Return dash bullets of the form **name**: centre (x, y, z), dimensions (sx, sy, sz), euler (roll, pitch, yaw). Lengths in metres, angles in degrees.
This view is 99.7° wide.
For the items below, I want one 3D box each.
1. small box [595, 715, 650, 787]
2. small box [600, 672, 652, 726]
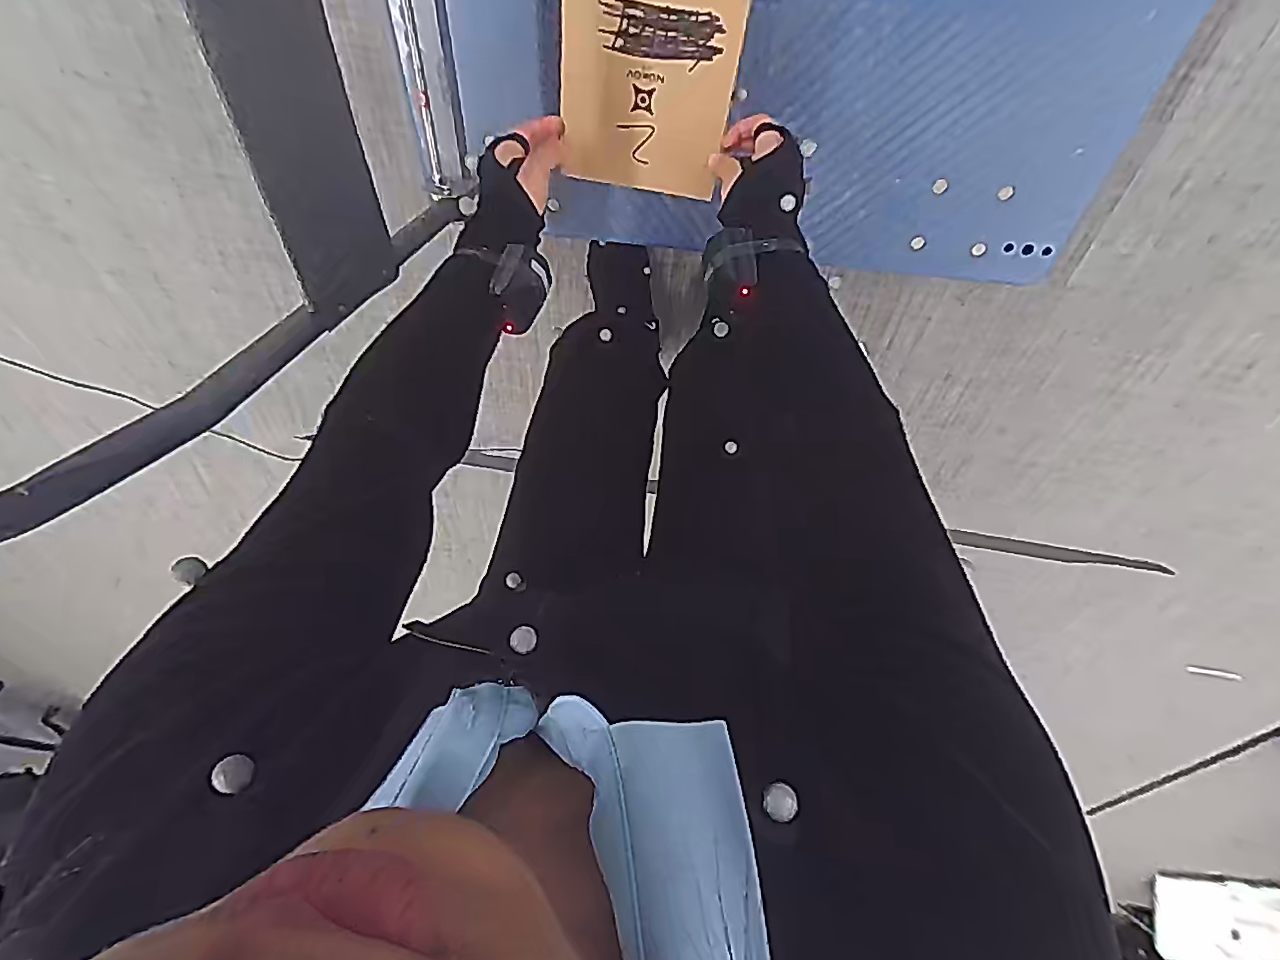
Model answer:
- **small box**: centre (-0.060, 0.961, 1.918), dimensions (0.168, 0.176, 0.179), euler (9, 133, 1)
- **small box**: centre (-0.047, 0.844, 2.031), dimensions (0.168, 0.176, 0.179), euler (-1, 133, 9)
